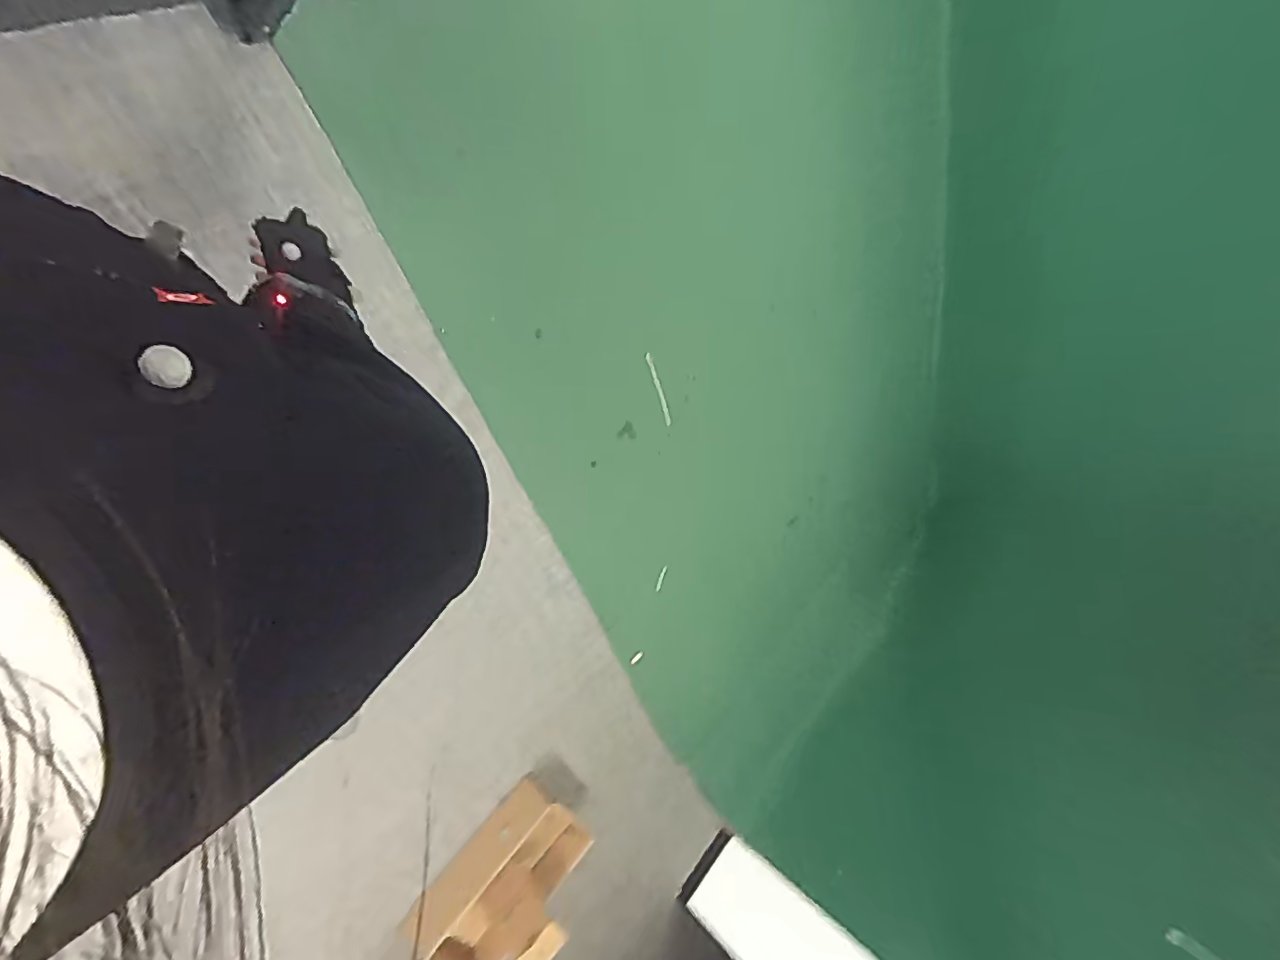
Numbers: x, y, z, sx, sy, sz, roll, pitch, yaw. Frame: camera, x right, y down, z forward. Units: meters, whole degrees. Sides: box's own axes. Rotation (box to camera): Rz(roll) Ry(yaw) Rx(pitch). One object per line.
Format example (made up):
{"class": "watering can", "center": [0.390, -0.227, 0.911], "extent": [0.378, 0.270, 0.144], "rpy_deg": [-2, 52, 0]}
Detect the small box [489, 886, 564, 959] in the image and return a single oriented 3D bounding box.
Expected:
{"class": "small box", "center": [-0.399, 1.574, 1.889], "extent": [0.168, 0.176, 0.179], "rpy_deg": [-38, 130, -28]}

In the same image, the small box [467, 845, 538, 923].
{"class": "small box", "center": [-0.517, 1.521, 2.012], "extent": [0.179, 0.176, 0.168], "rpy_deg": [-41, 130, -30]}
